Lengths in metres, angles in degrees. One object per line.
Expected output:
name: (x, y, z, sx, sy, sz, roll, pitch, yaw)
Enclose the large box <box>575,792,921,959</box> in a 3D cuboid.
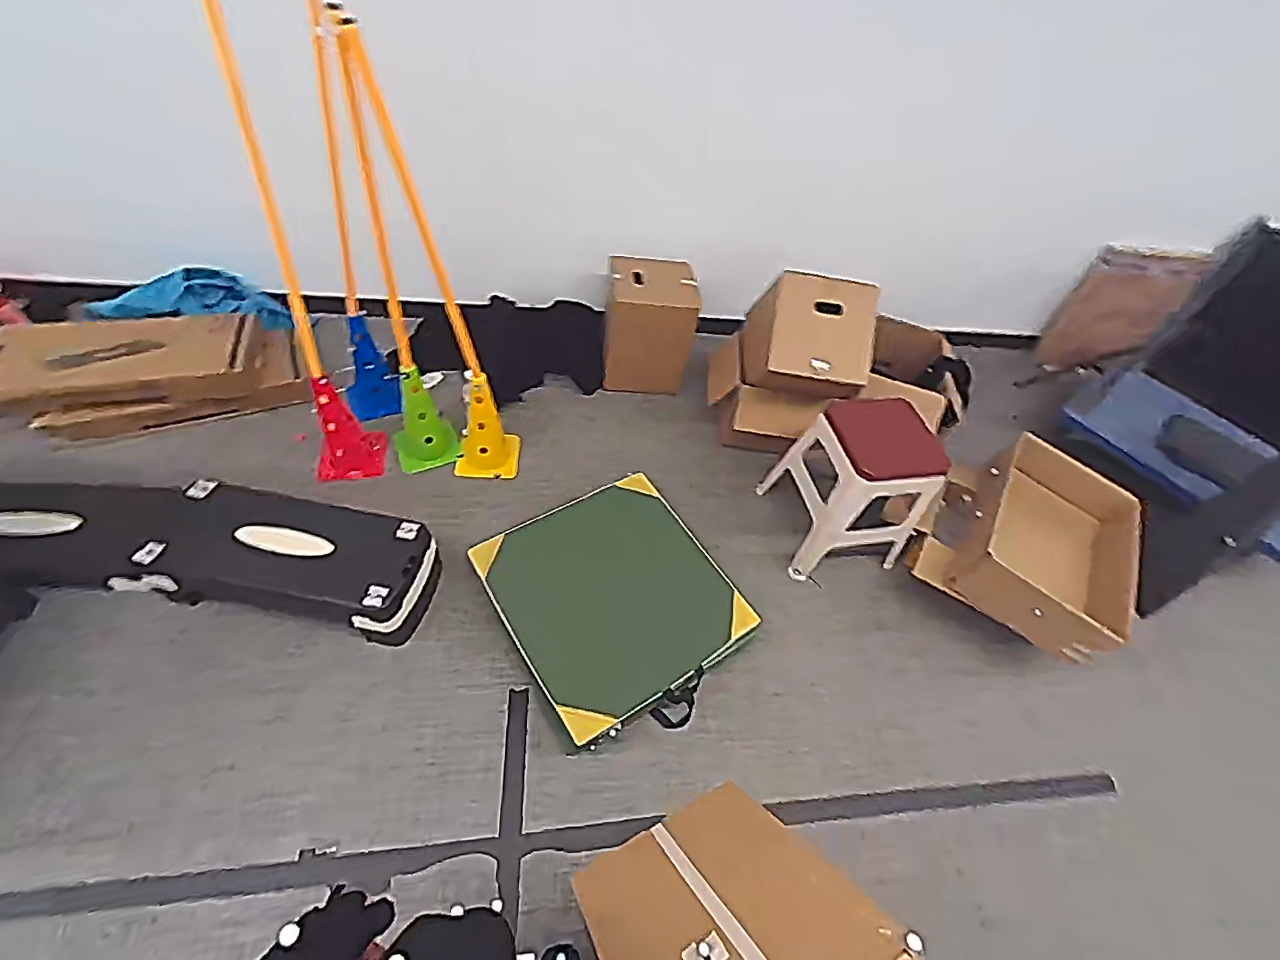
large box: (0.144, 0.720, 0.724, 0.320, 0.408, 0.320, -19, 93, -21)
